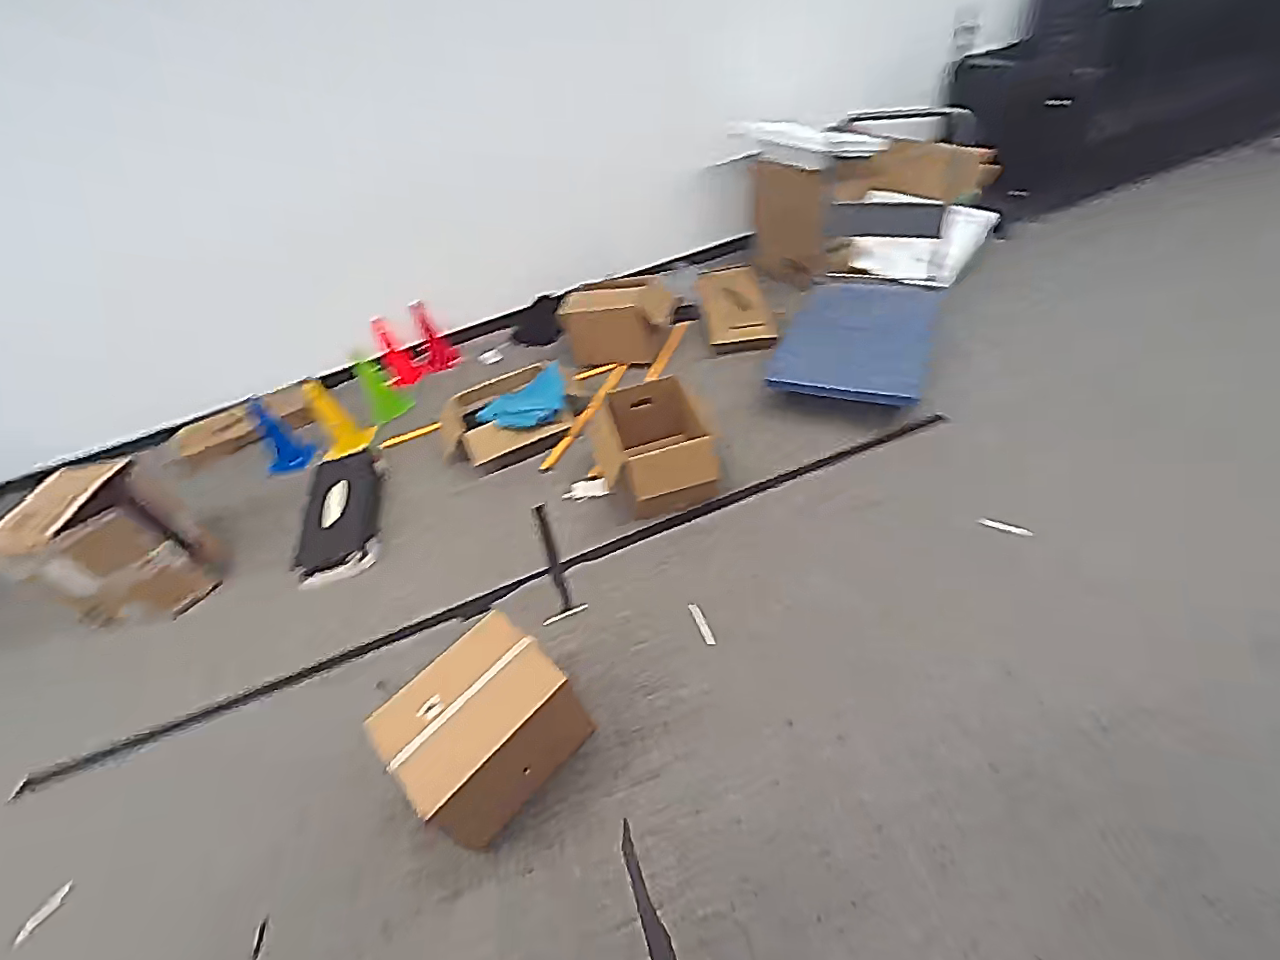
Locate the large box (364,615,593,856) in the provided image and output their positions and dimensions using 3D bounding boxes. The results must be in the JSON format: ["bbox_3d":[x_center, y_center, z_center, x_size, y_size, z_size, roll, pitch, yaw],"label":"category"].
[{"bbox_3d":[-0.388,0.640,1.382,0.320,0.320,0.408,28,58,36],"label":"large box"}]
